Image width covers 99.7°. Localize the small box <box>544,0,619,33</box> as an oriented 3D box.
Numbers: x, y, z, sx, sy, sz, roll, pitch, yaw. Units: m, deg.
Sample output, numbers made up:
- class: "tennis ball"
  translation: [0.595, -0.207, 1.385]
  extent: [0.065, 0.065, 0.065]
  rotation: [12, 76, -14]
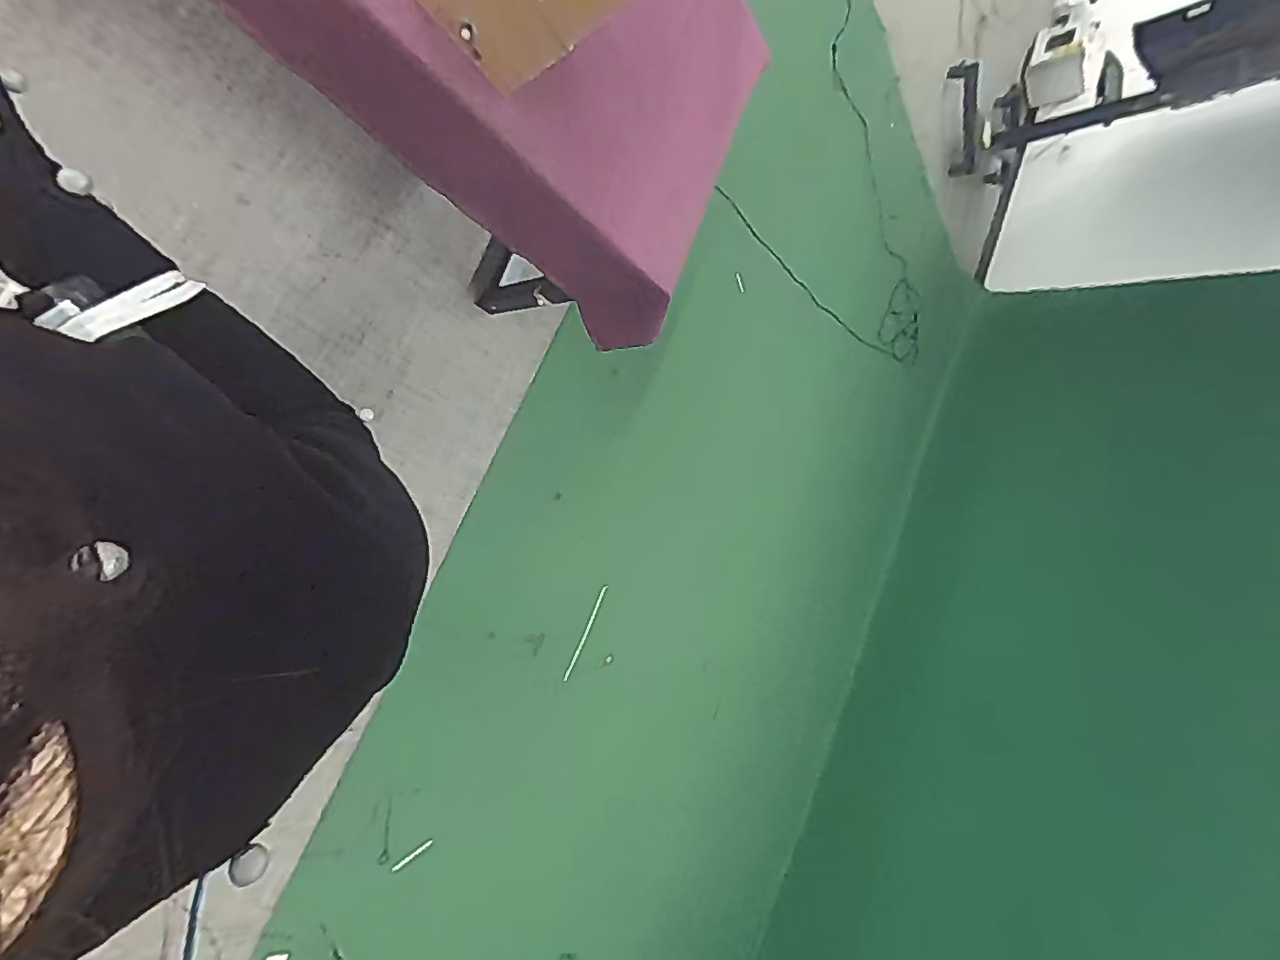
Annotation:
- class: "small box"
  translation: [-0.046, -0.628, 0.560]
  extent: [0.168, 0.176, 0.179]
  rotation: [35, 74, -41]
